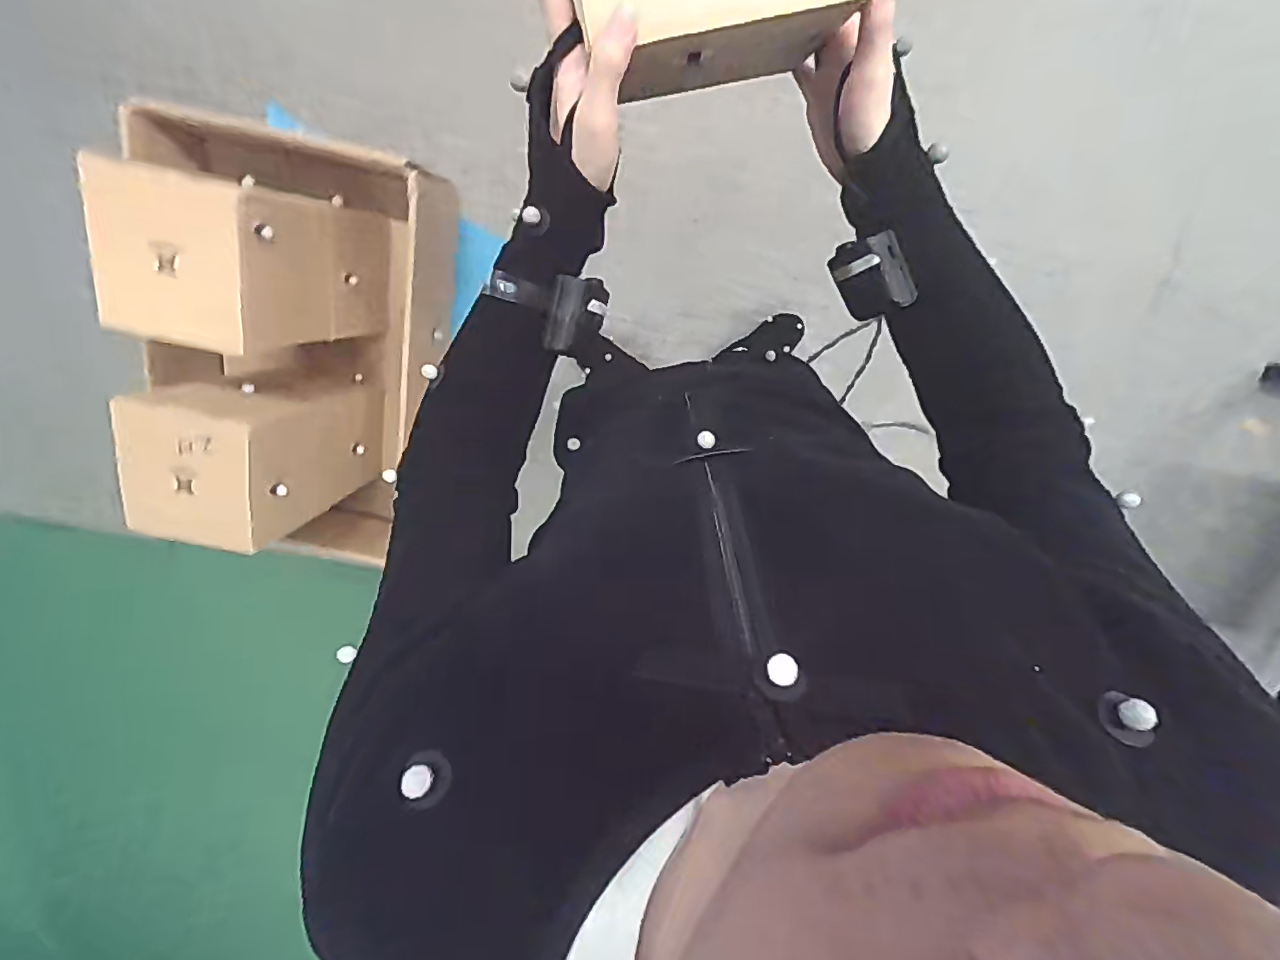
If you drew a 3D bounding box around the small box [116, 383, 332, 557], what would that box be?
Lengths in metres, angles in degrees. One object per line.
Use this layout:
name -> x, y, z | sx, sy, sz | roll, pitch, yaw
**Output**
small box -> -0.549, -0.022, 0.739 | 0.168, 0.176, 0.179 | 12, 108, -1
